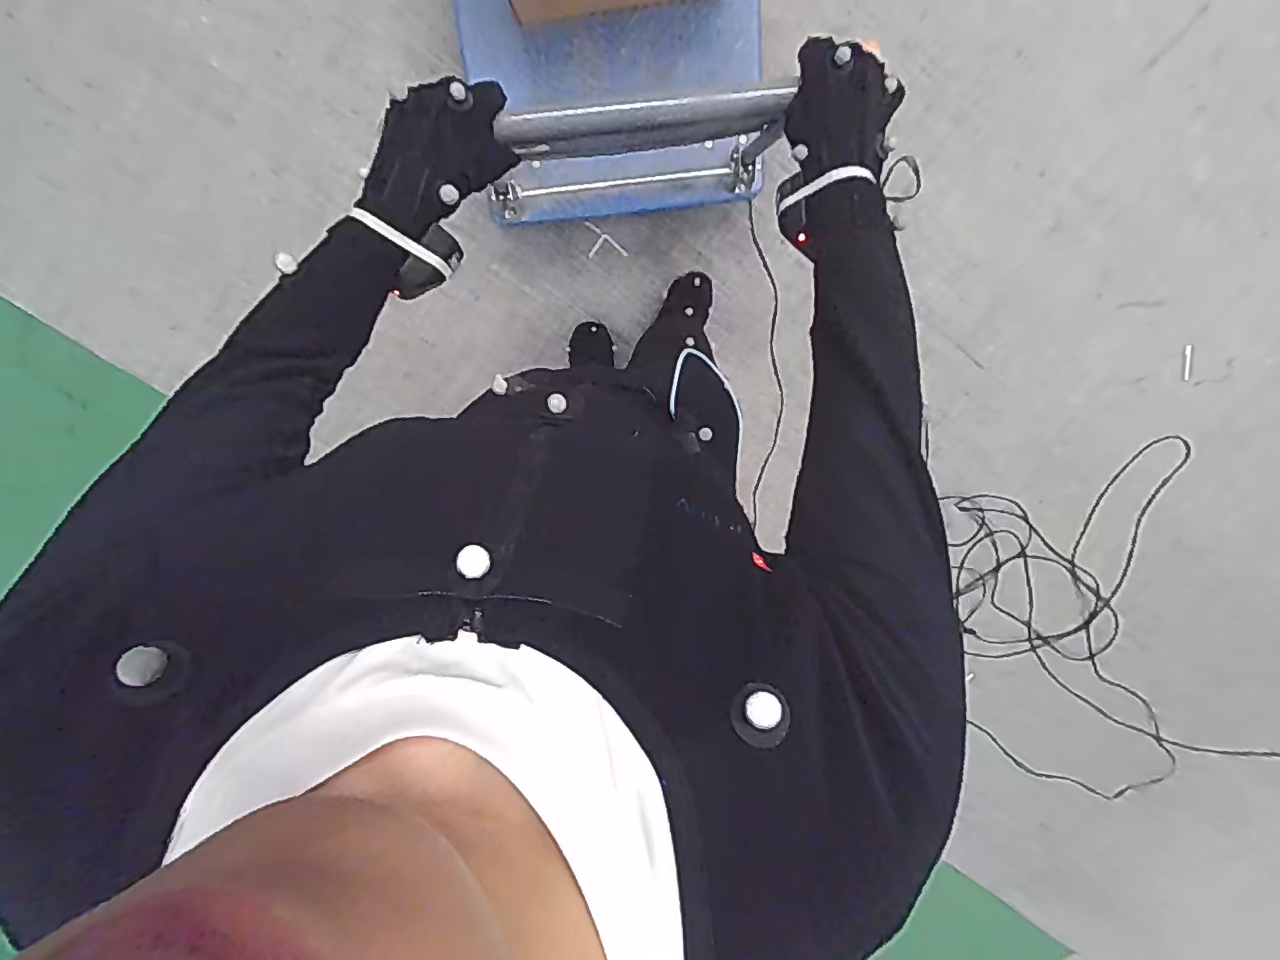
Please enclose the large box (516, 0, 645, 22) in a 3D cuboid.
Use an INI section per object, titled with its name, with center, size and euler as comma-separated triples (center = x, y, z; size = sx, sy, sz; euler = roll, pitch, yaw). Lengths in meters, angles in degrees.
[large box]
center = -0.045, -0.987, 0.829
size = 0.408, 0.320, 0.320
euler = -8, 108, 2
